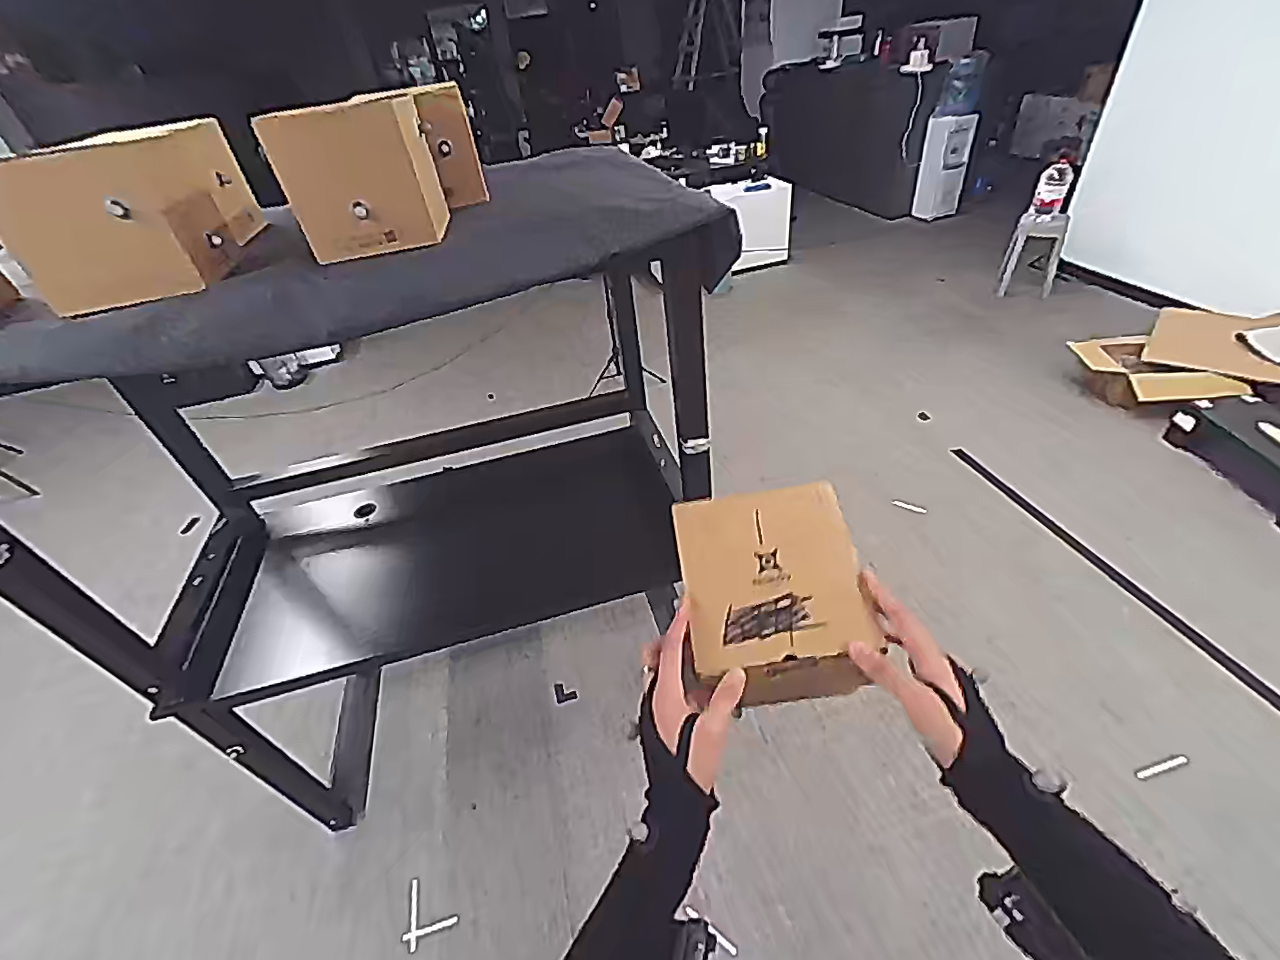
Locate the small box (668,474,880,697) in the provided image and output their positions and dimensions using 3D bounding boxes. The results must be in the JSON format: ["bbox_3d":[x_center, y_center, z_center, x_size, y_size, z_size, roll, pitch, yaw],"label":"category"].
[{"bbox_3d":[0.129,0.121,0.572,0.168,0.176,0.179,-10,56,4],"label":"small box"}]

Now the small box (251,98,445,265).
[{"bbox_3d":[-0.382,-0.414,0.750,0.168,0.176,0.179,-13,39,-4],"label":"small box"}]

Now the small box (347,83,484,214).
[{"bbox_3d":[-0.373,-0.559,0.924,0.168,0.176,0.179,-15,40,-9],"label":"small box"}]

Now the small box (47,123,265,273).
[{"bbox_3d":[-0.758,-0.457,0.877,0.179,0.176,0.168,-14,40,-6],"label":"small box"}]
